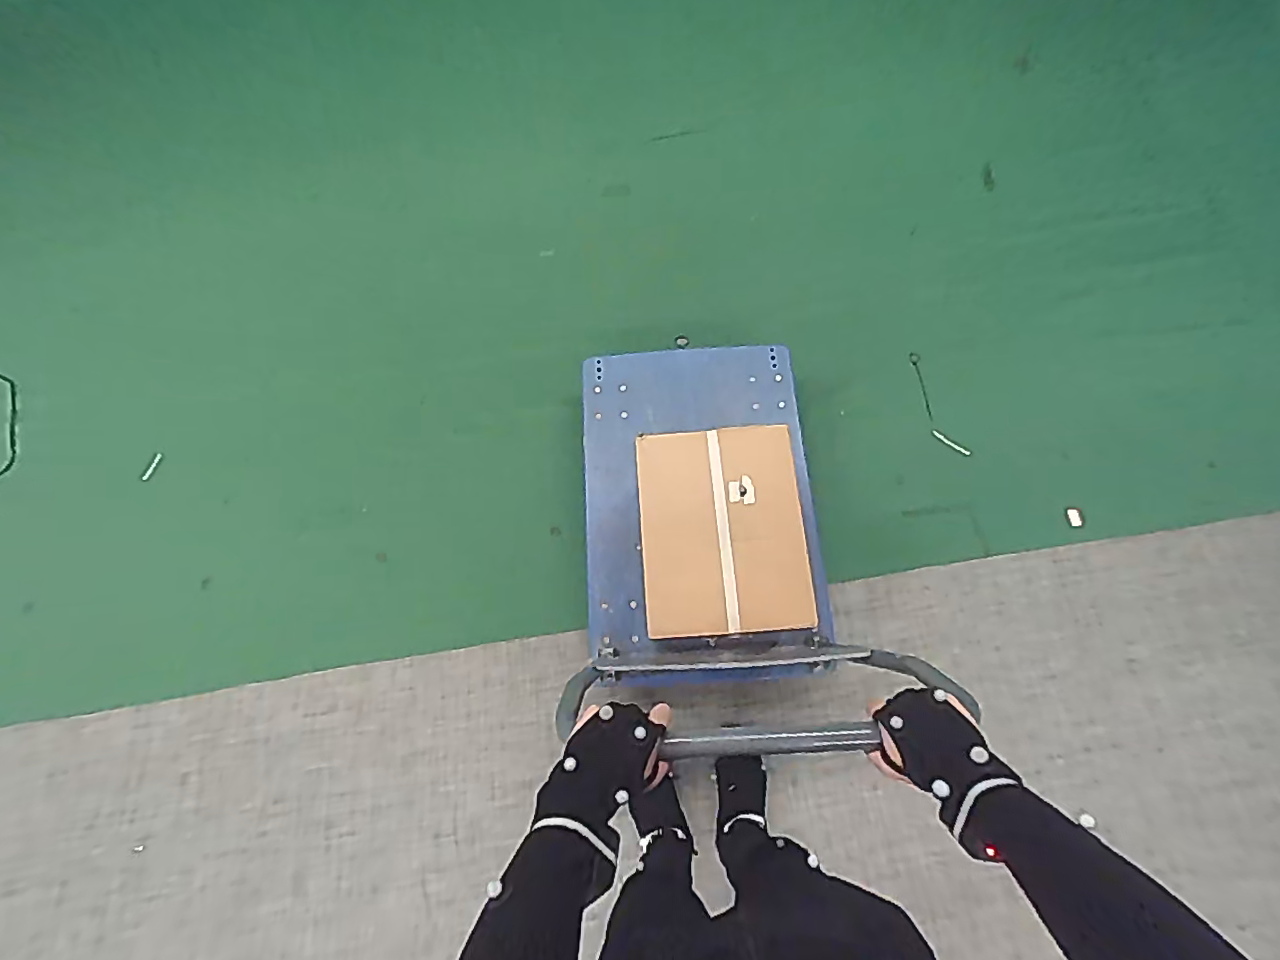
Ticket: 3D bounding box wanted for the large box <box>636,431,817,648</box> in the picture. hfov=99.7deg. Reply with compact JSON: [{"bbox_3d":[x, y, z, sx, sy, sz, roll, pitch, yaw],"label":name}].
[{"bbox_3d":[0.166,0.146,1.189,0.320,0.320,0.408,-4,71,1],"label":"large box"}]
